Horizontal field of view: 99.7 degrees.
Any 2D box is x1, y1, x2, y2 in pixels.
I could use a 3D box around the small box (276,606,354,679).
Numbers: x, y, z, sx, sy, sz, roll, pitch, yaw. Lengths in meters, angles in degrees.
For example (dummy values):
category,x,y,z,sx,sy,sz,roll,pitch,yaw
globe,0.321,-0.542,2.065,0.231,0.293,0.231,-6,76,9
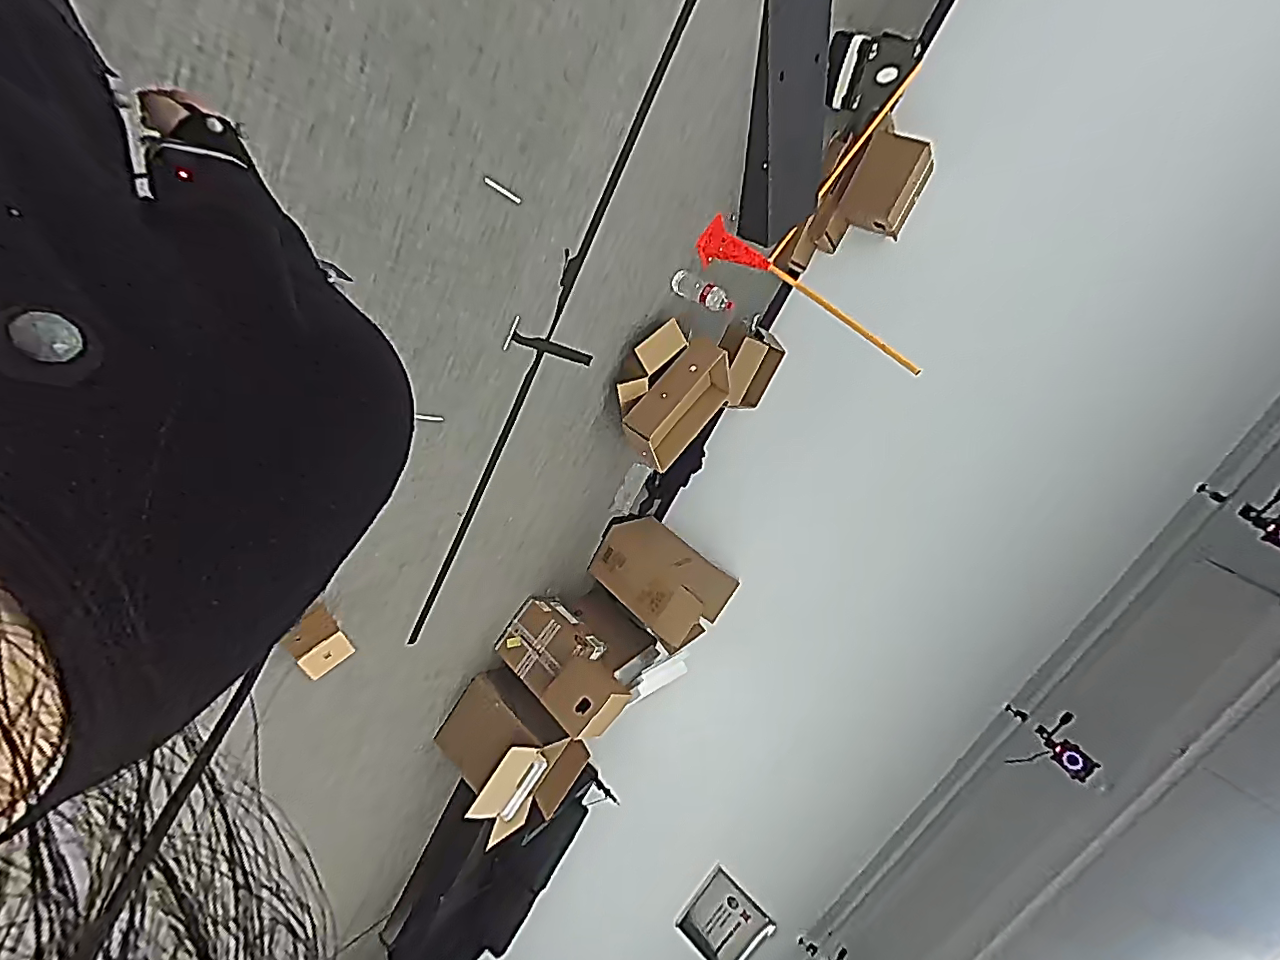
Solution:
category,x,y,z,sx,sy,sz,roll,pitch,yaw
small box,-1.214,0.600,2.016,0.168,0.176,0.179,-37,152,-31
